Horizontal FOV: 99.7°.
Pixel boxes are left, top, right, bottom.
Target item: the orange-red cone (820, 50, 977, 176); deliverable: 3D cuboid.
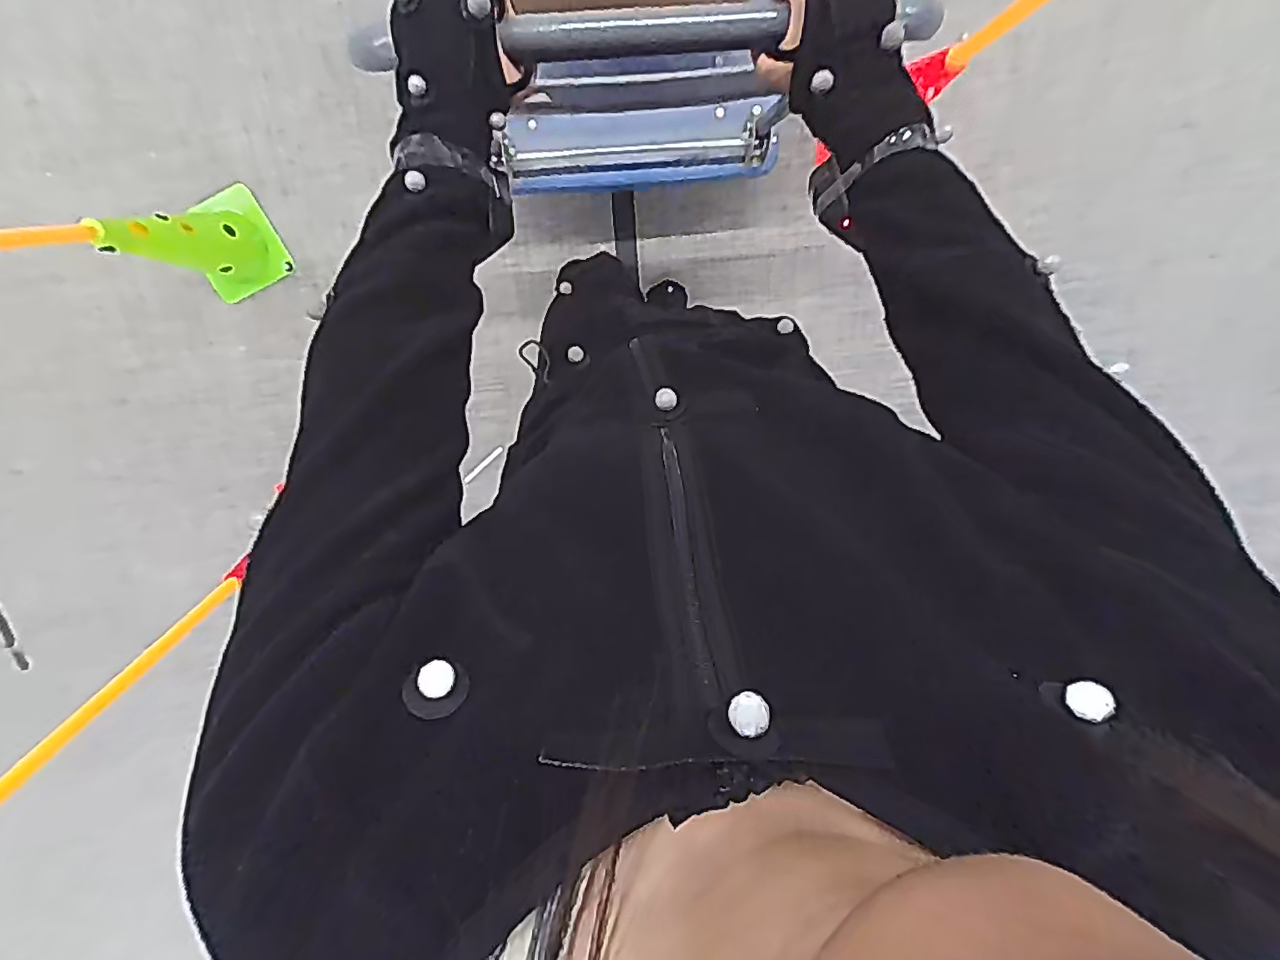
[{"bbox_3d":[0.506,-0.715,1.010,0.199,0.360,0.198,1,110,-3],"label":"orange-red cone"}]
